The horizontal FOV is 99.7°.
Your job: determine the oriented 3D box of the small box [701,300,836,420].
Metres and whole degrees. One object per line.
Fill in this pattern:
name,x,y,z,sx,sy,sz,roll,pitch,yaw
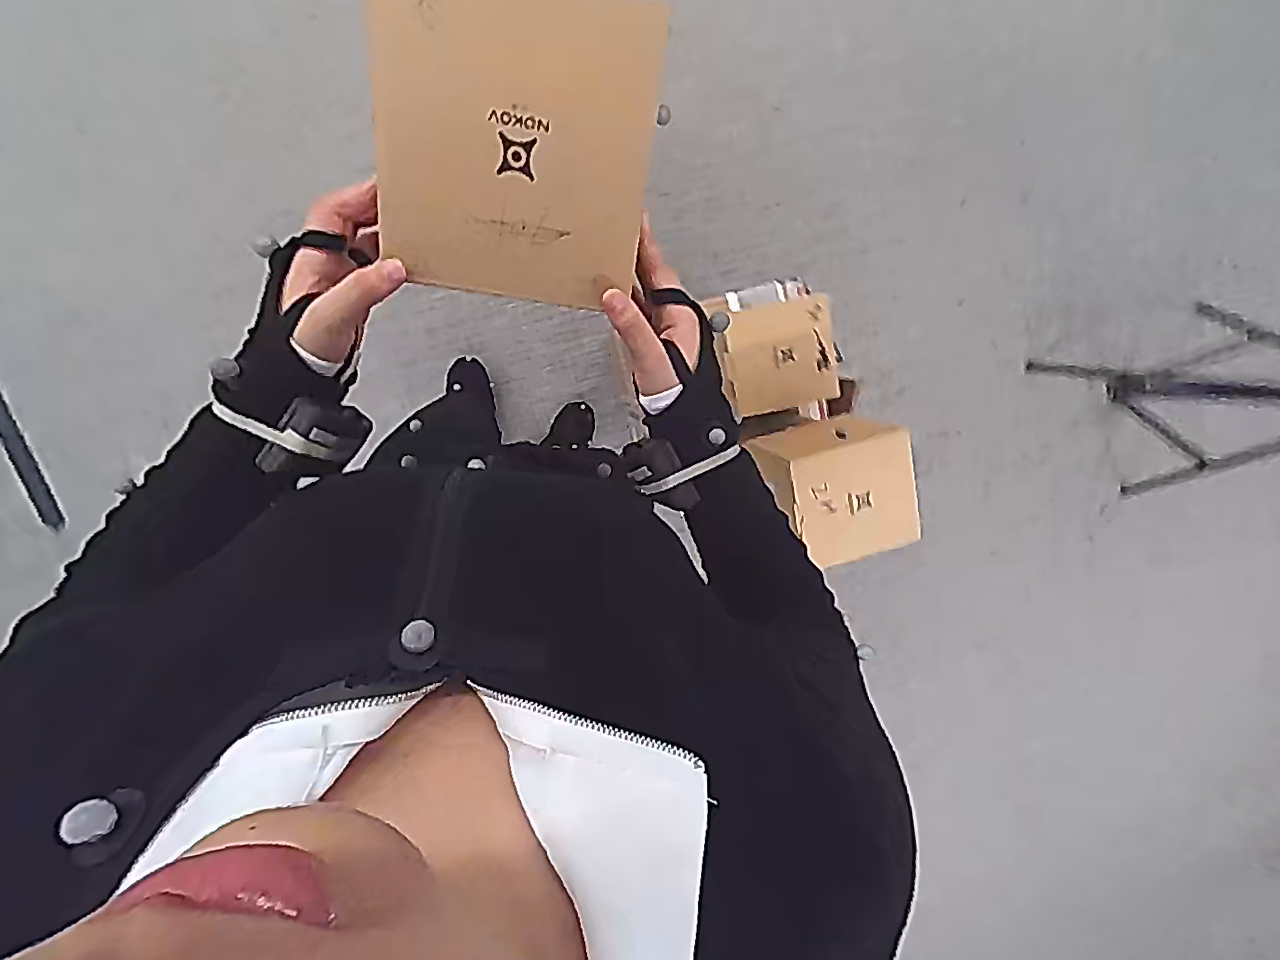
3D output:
small box,0.210,-0.200,0.930,0.179,0.176,0.168,-12,101,-4

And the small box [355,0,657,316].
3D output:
small box,-0.091,-0.234,0.398,0.168,0.176,0.179,6,116,-8

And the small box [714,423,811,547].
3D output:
small box,0.248,0.000,0.978,0.179,0.176,0.168,-13,104,-4

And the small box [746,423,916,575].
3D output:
small box,0.280,0.018,0.816,0.179,0.176,0.168,-15,105,-5
